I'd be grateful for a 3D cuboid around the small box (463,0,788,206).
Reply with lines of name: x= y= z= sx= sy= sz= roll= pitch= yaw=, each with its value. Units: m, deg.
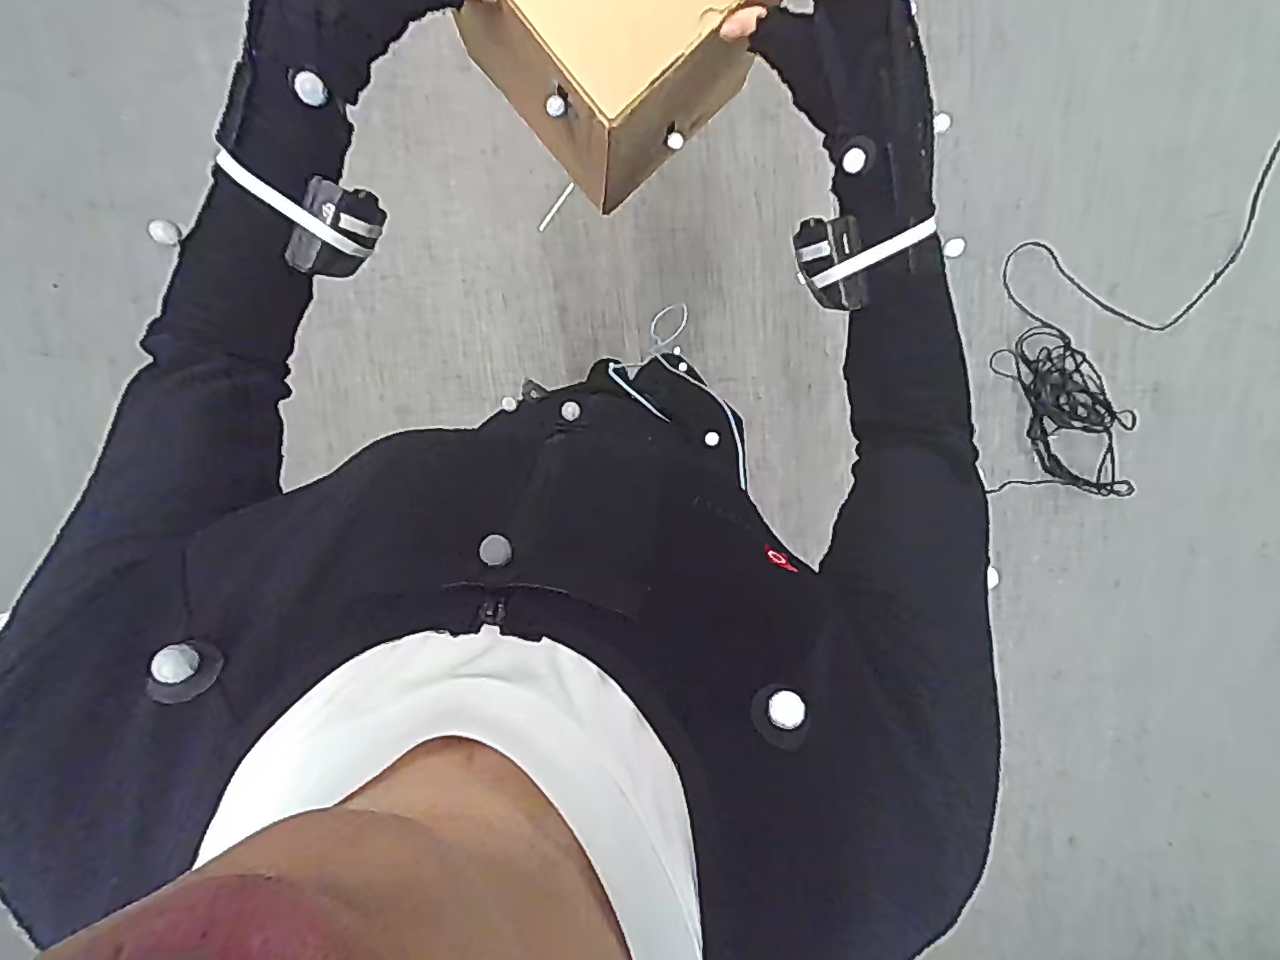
small box: x=-0.018 y=-0.342 z=0.391 sx=0.168 sy=0.176 sz=0.179 roll=-42 pitch=100 yaw=2
